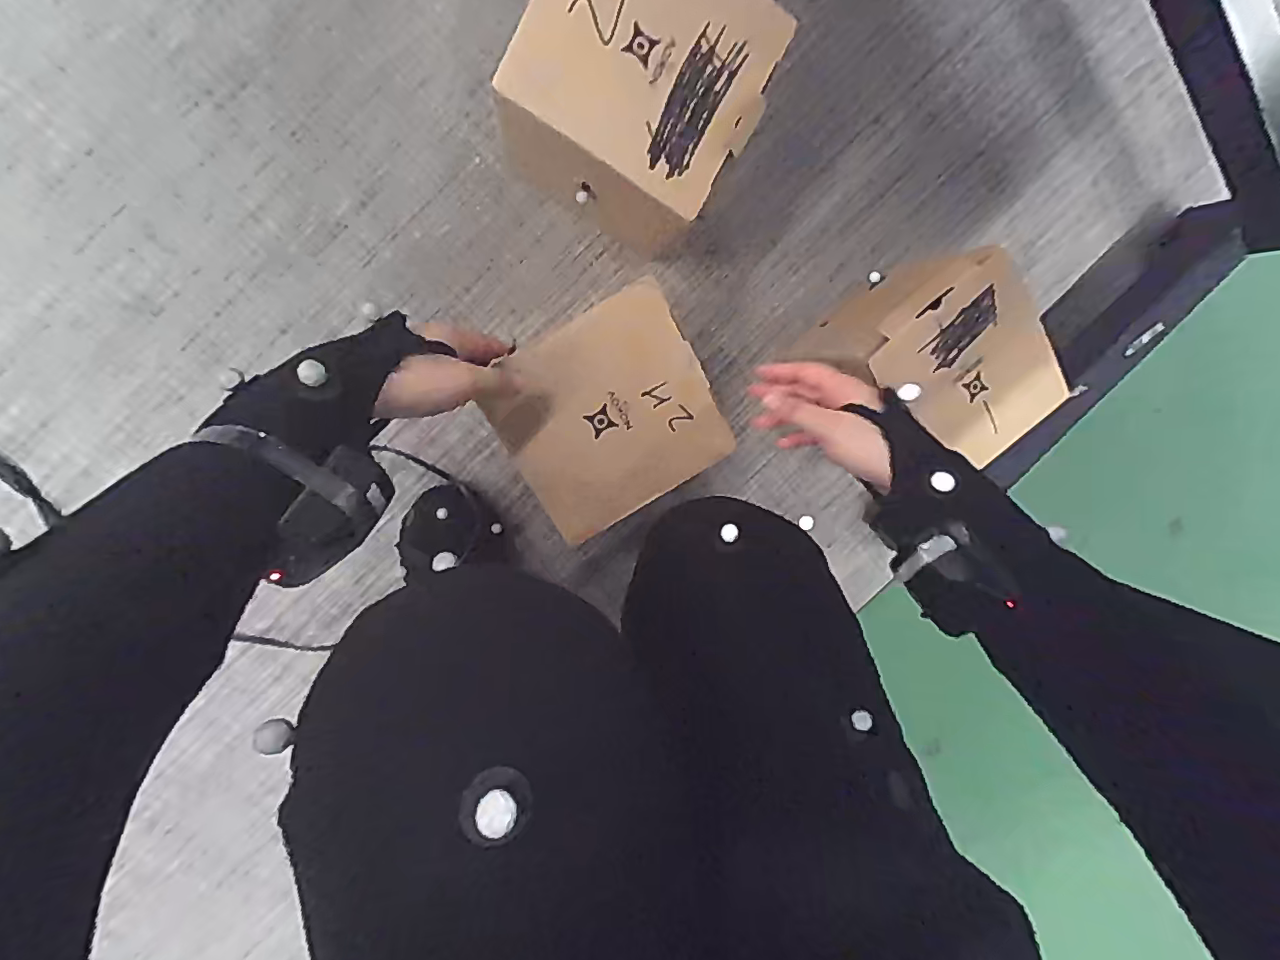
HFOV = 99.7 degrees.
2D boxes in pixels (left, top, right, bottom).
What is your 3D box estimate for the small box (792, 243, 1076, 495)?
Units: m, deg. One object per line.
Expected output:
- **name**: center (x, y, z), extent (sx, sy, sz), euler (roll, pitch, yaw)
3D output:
- **small box**: center (0.295, -0.114, 0.575), extent (0.168, 0.176, 0.179), euler (-38, 107, 0)
